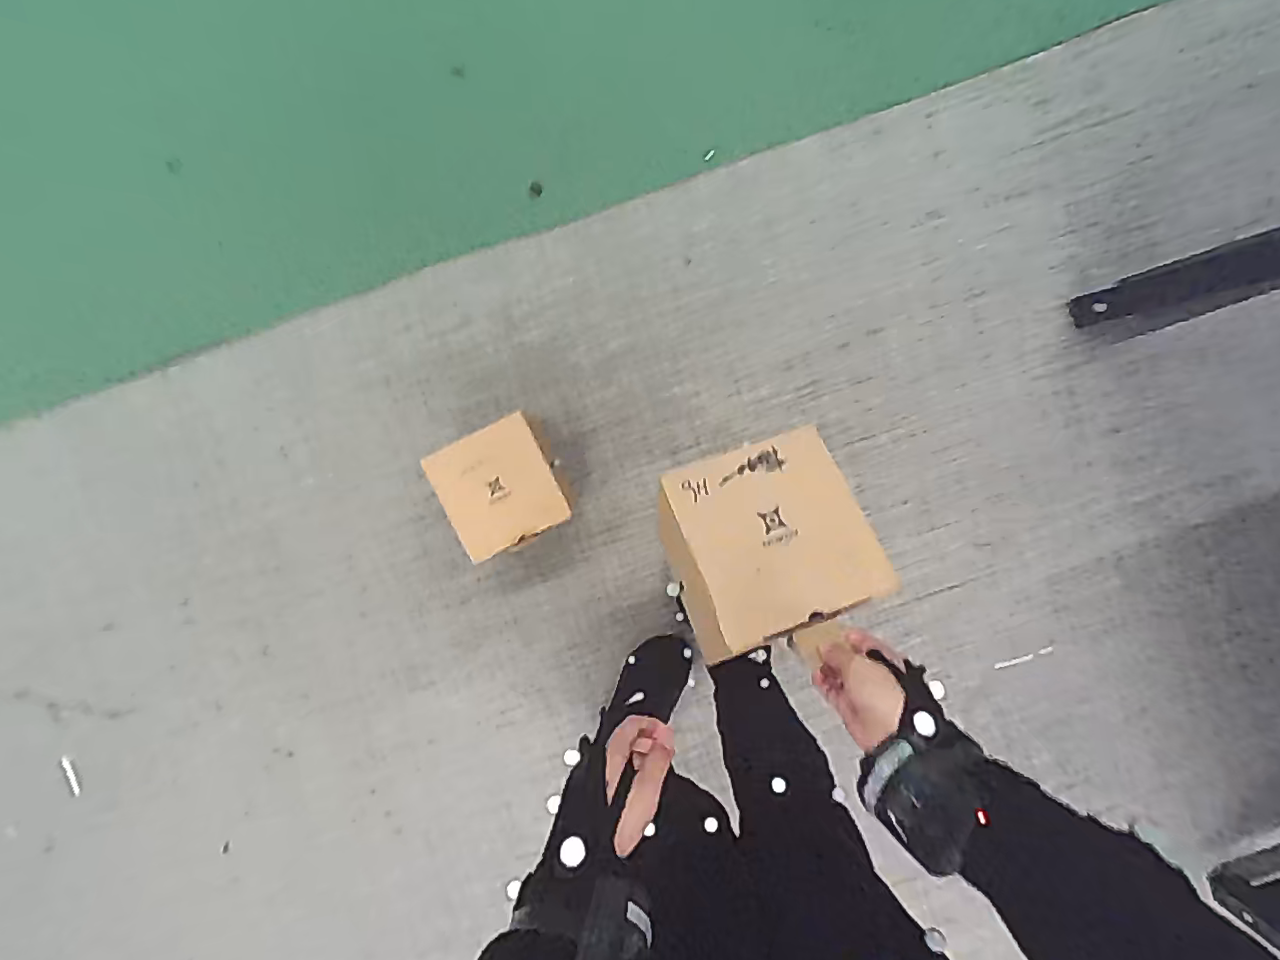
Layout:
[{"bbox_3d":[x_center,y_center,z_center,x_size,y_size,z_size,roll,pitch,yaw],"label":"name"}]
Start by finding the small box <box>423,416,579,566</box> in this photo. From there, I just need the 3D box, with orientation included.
[{"bbox_3d":[-0.210,0.011,0.874,0.168,0.176,0.179,-27,93,0],"label":"small box"}]

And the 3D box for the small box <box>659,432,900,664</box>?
[{"bbox_3d":[0.124,0.080,0.561,0.168,0.176,0.179,-17,70,-7],"label":"small box"}]
